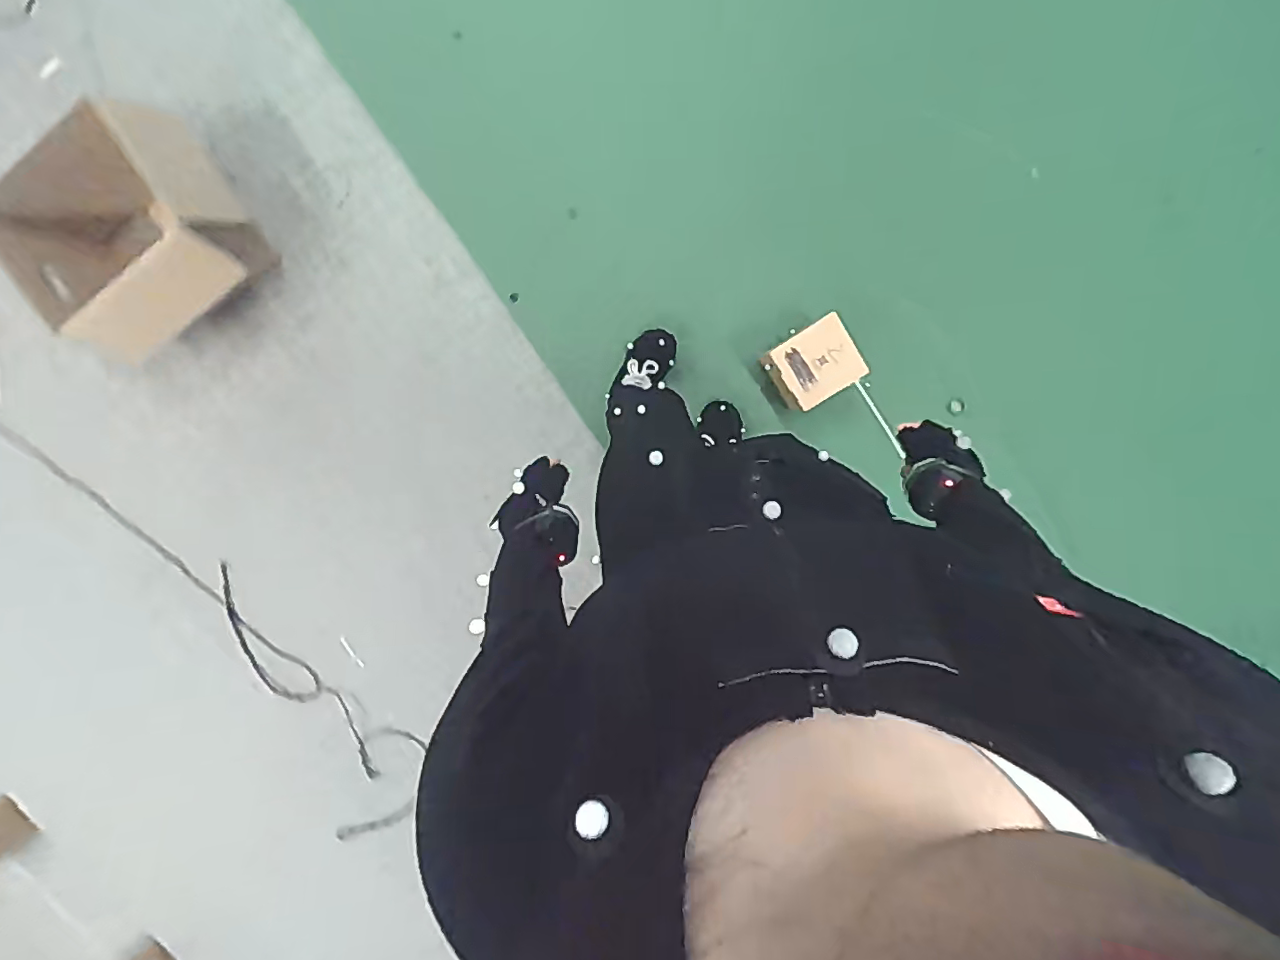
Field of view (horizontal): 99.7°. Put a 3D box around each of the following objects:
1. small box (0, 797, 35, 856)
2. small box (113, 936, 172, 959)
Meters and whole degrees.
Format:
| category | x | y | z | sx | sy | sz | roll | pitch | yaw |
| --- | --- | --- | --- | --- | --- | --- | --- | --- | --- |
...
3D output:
| category | x | y | z | sx | sy | sz | roll | pitch | yaw |
| --- | --- | --- | --- | --- | --- | --- | --- | --- | --- |
| small box | -2.146 | 1.163 | 1.741 | 0.168 | 0.176 | 0.179 | -35 | 97 | 8 |
| small box | -1.733 | 1.704 | 1.817 | 0.179 | 0.176 | 0.168 | -35 | 97 | 9 |
